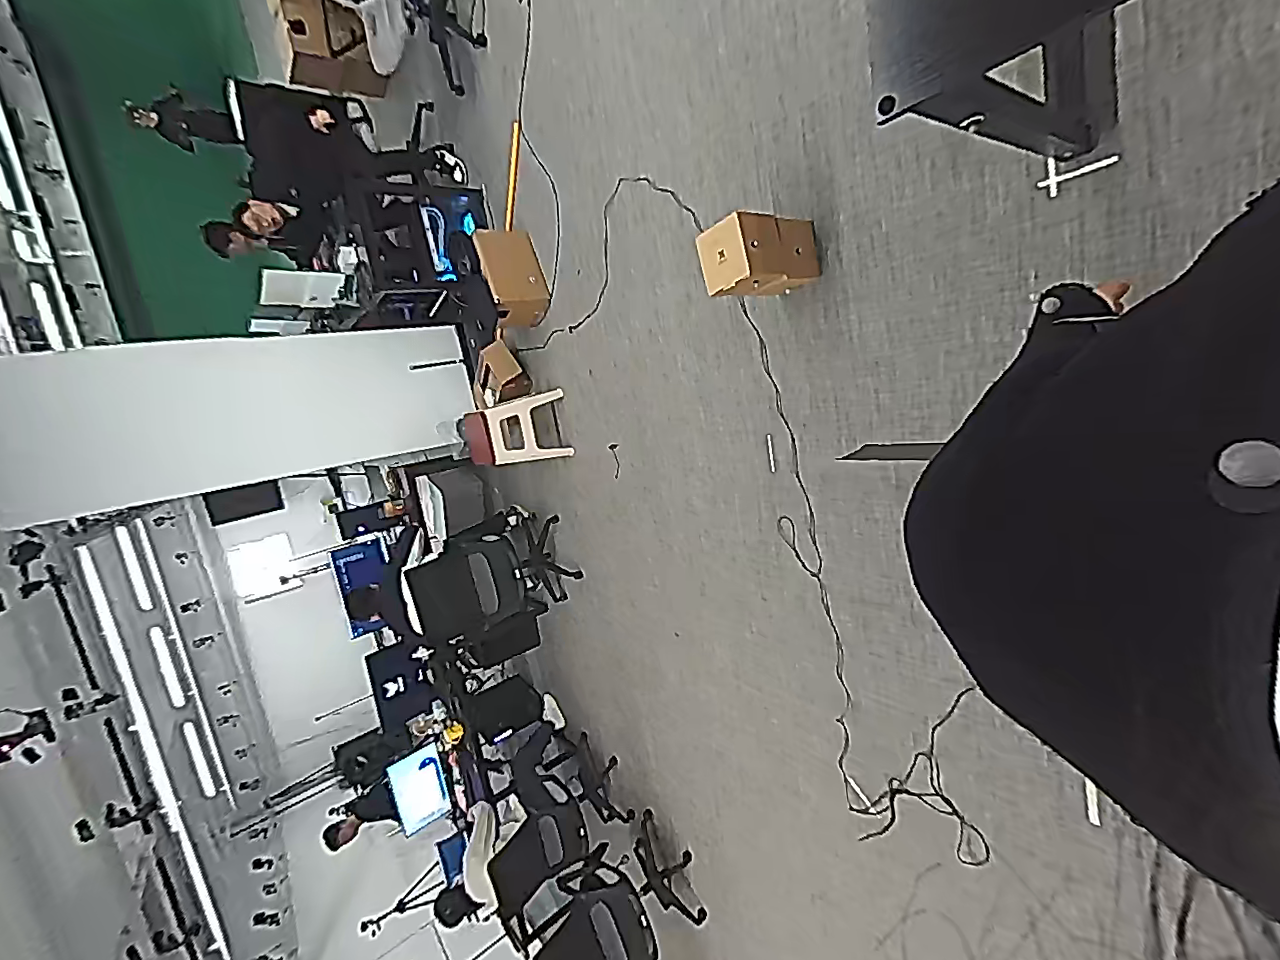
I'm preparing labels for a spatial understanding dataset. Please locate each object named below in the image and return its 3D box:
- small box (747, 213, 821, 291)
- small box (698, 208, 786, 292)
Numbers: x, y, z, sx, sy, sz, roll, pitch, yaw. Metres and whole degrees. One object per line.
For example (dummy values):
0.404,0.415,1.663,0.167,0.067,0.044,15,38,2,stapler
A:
0.426,-0.688,1.647,0.168,0.176,0.179,-3,102,54,small box
0.297,-0.656,1.554,0.168,0.176,0.179,-8,95,53,small box
